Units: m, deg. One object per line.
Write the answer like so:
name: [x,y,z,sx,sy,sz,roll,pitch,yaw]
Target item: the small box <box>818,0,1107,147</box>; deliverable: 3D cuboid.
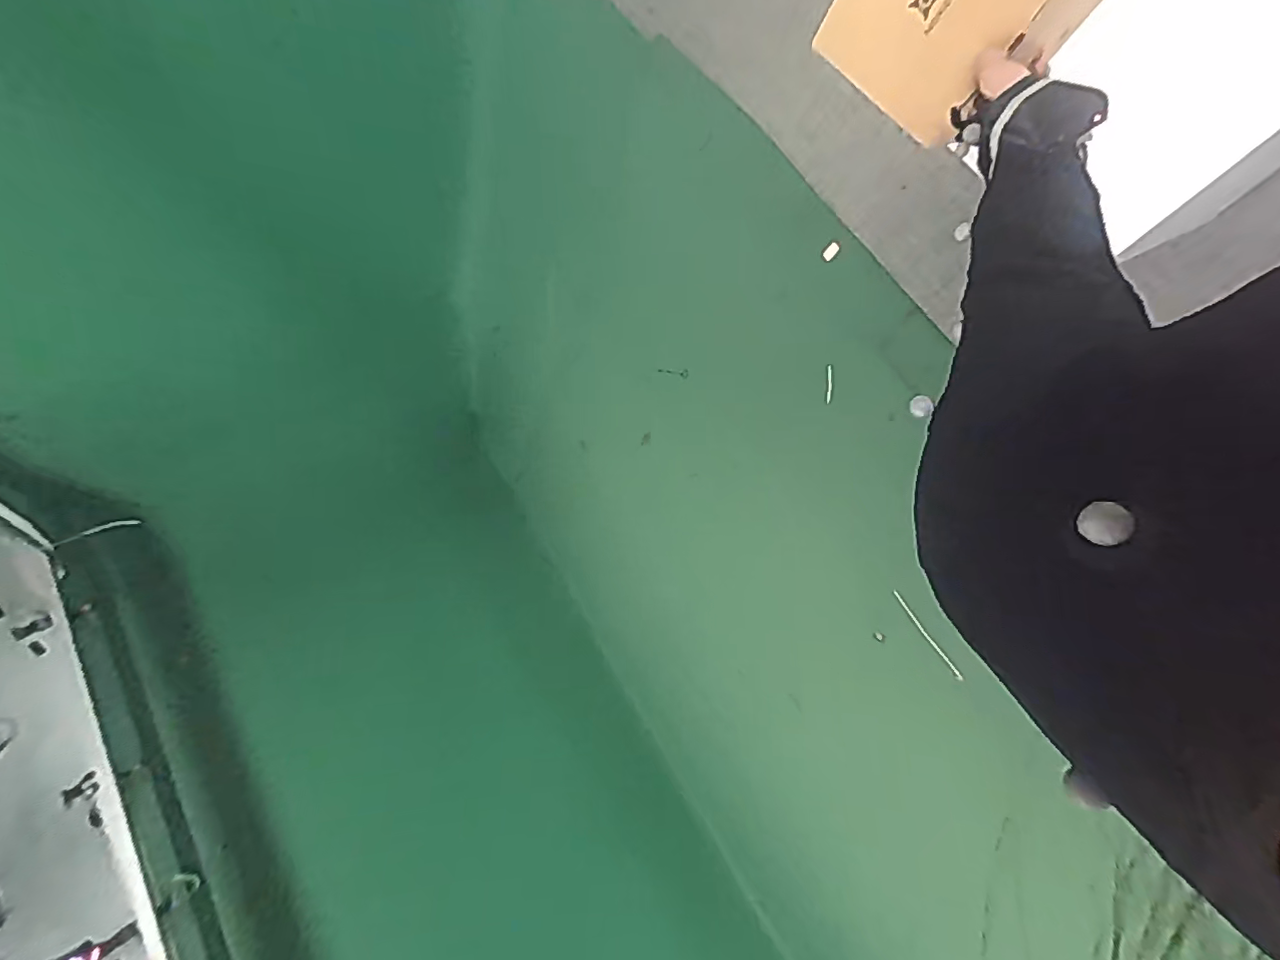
small box: [0.323,-0.468,0.536,0.179,0.176,0.168,48,145,9]
